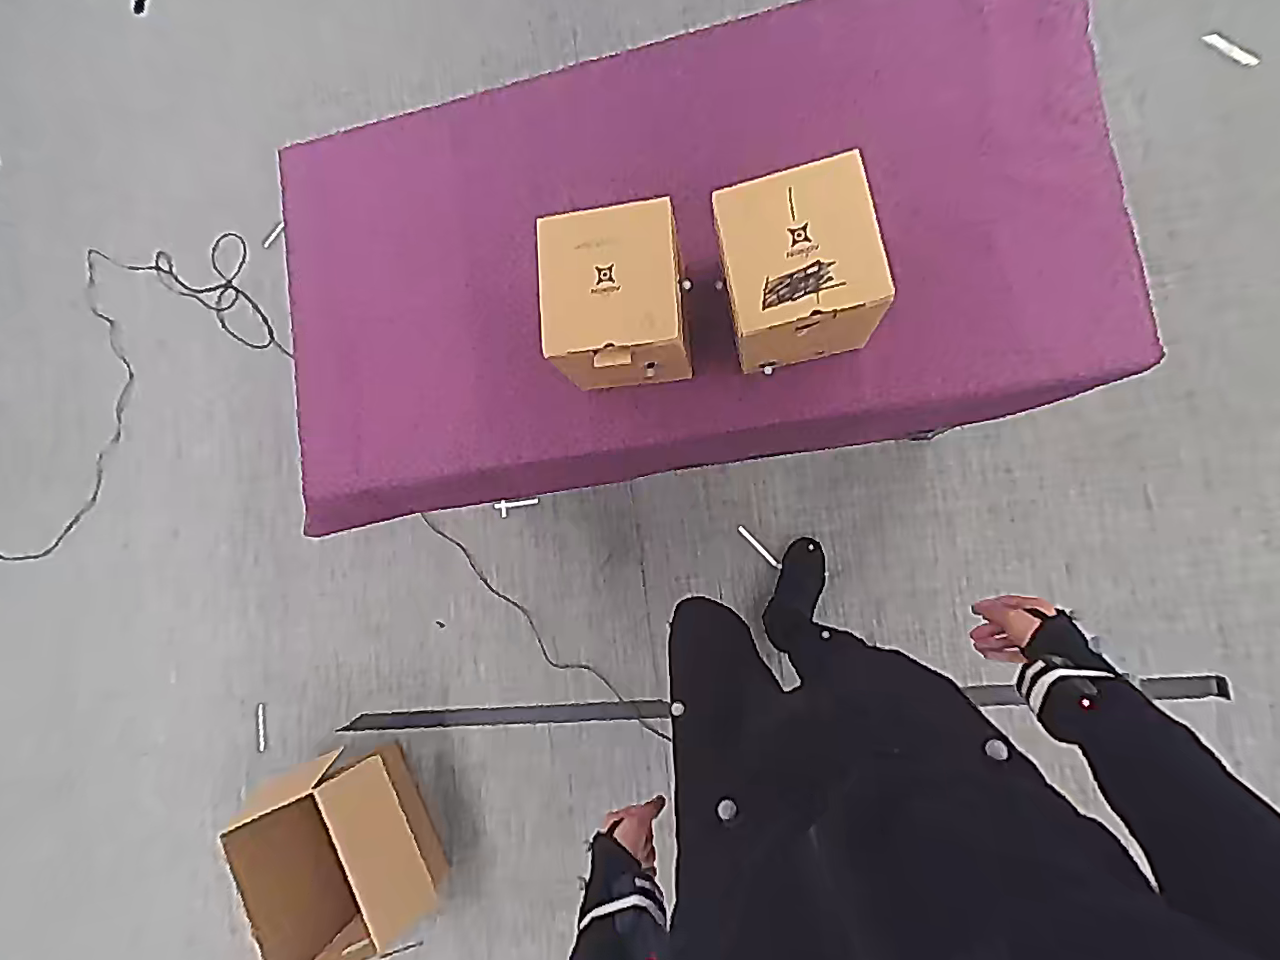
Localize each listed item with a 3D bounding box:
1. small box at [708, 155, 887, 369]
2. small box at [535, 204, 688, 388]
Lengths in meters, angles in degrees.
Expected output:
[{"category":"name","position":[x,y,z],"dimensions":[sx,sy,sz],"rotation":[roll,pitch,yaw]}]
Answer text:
[{"category":"small box","position":[0.186,-0.250,0.673],"dimensions":[0.168,0.176,0.179],"rotation":[-12,82,10]},{"category":"small box","position":[-0.029,-0.225,0.713],"dimensions":[0.168,0.176,0.179],"rotation":[-4,85,10]}]
